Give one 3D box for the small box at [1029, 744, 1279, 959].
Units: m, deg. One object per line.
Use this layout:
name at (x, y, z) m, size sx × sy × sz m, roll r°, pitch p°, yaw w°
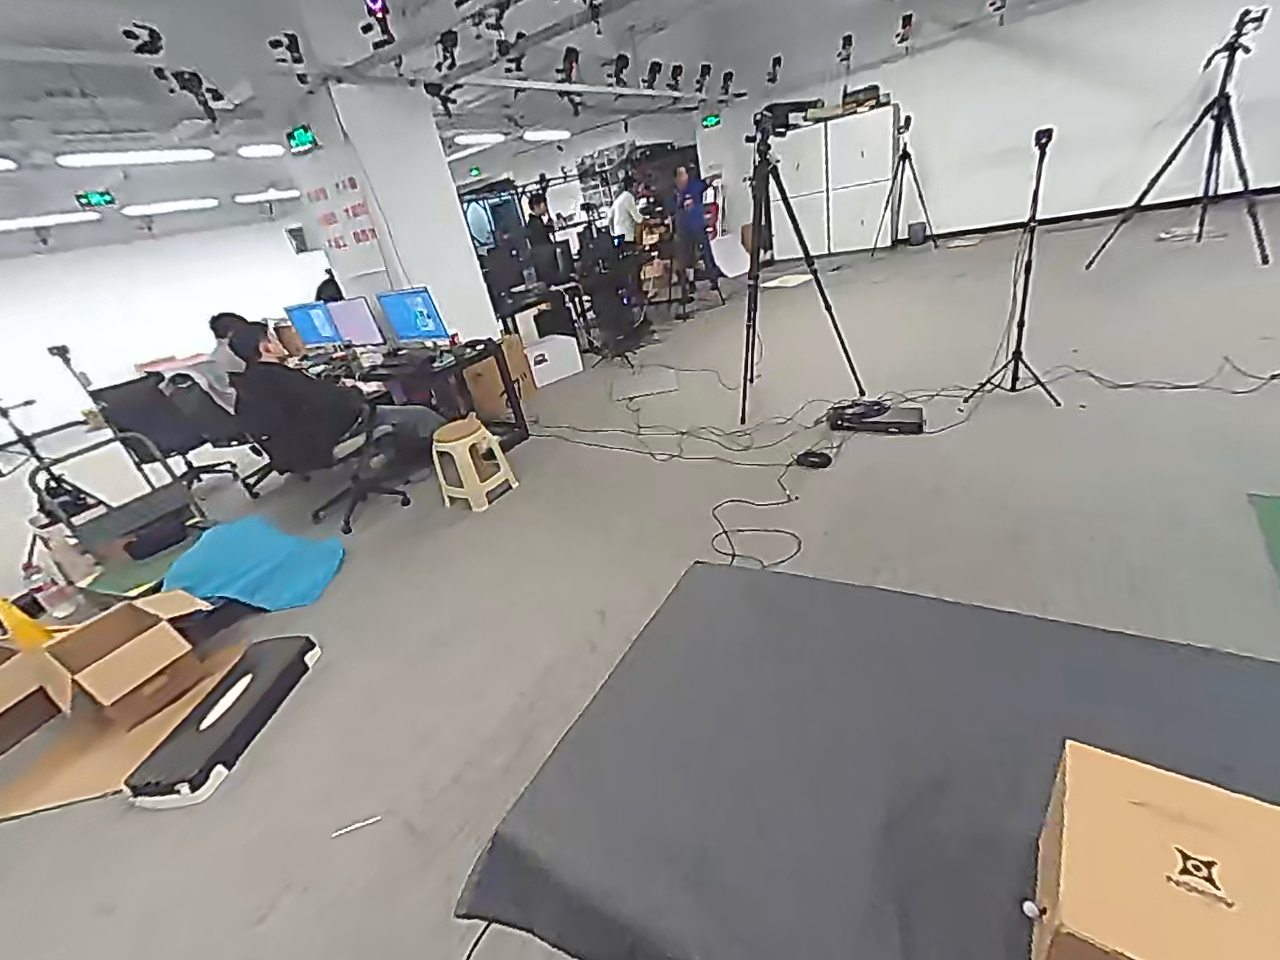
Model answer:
small box at (0.432, 0.369, 0.441) m, size 0.168 × 0.176 × 0.179 m, roll 10°, pitch 33°, yaw 35°
